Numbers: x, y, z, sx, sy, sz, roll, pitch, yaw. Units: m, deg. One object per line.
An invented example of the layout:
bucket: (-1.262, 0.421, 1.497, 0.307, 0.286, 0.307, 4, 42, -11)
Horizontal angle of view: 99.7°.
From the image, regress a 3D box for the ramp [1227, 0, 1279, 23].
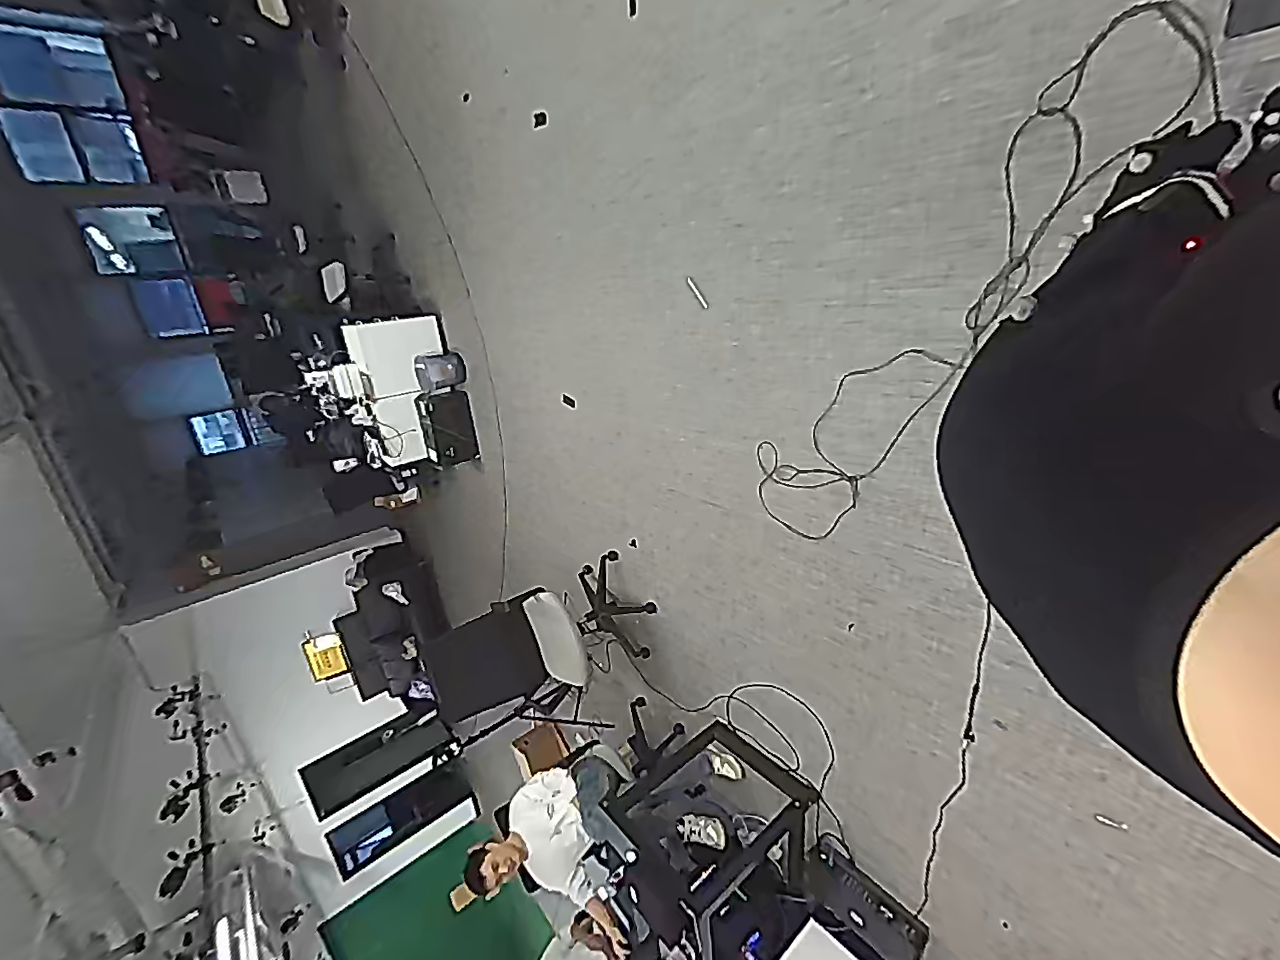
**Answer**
ramp: (1.028, -1.143, 0.509, 0.509, 0.206, 0.991, 16, 120, 48)
